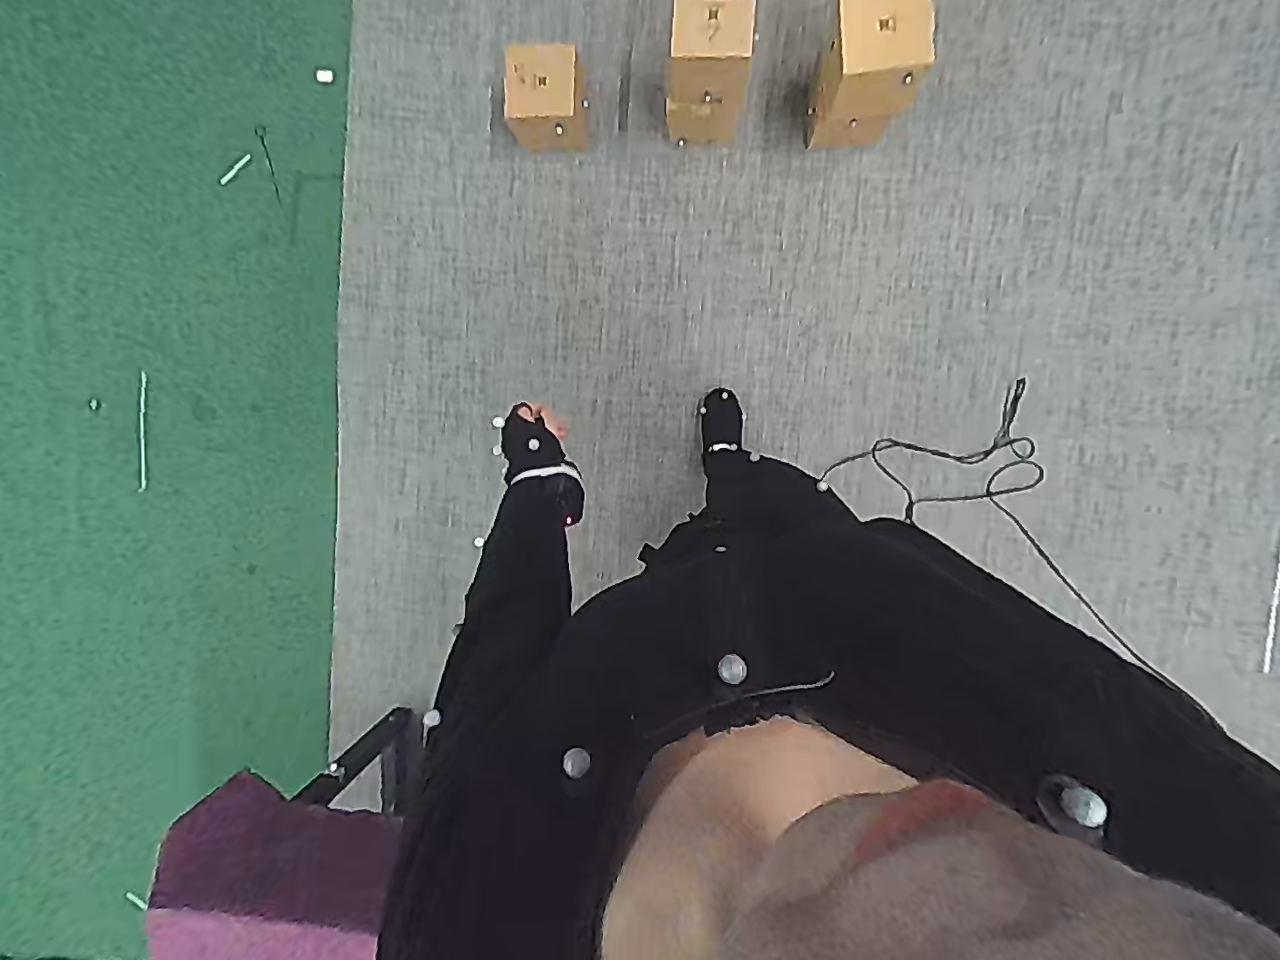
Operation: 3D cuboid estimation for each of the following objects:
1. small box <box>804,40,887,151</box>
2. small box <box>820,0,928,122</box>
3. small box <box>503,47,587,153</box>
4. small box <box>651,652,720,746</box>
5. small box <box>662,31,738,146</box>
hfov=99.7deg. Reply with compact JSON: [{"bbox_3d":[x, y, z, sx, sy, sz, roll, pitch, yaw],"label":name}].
[{"bbox_3d":[0.499,-0.919,1.301,0.179,0.176,0.168,2,96,6],"label":"small box"},{"bbox_3d":[0.483,-0.891,1.141,0.179,0.176,0.168,-3,94,6],"label":"small box"},{"bbox_3d":[-0.237,-0.964,1.384,0.179,0.176,0.168,3,94,6],"label":"small box"},{"bbox_3d":[0.123,0.582,1.458,0.168,0.176,0.179,5,94,6],"label":"small box"},{"bbox_3d":[0.150,-0.958,1.339,0.168,0.176,0.179,4,94,6],"label":"small box"}]
